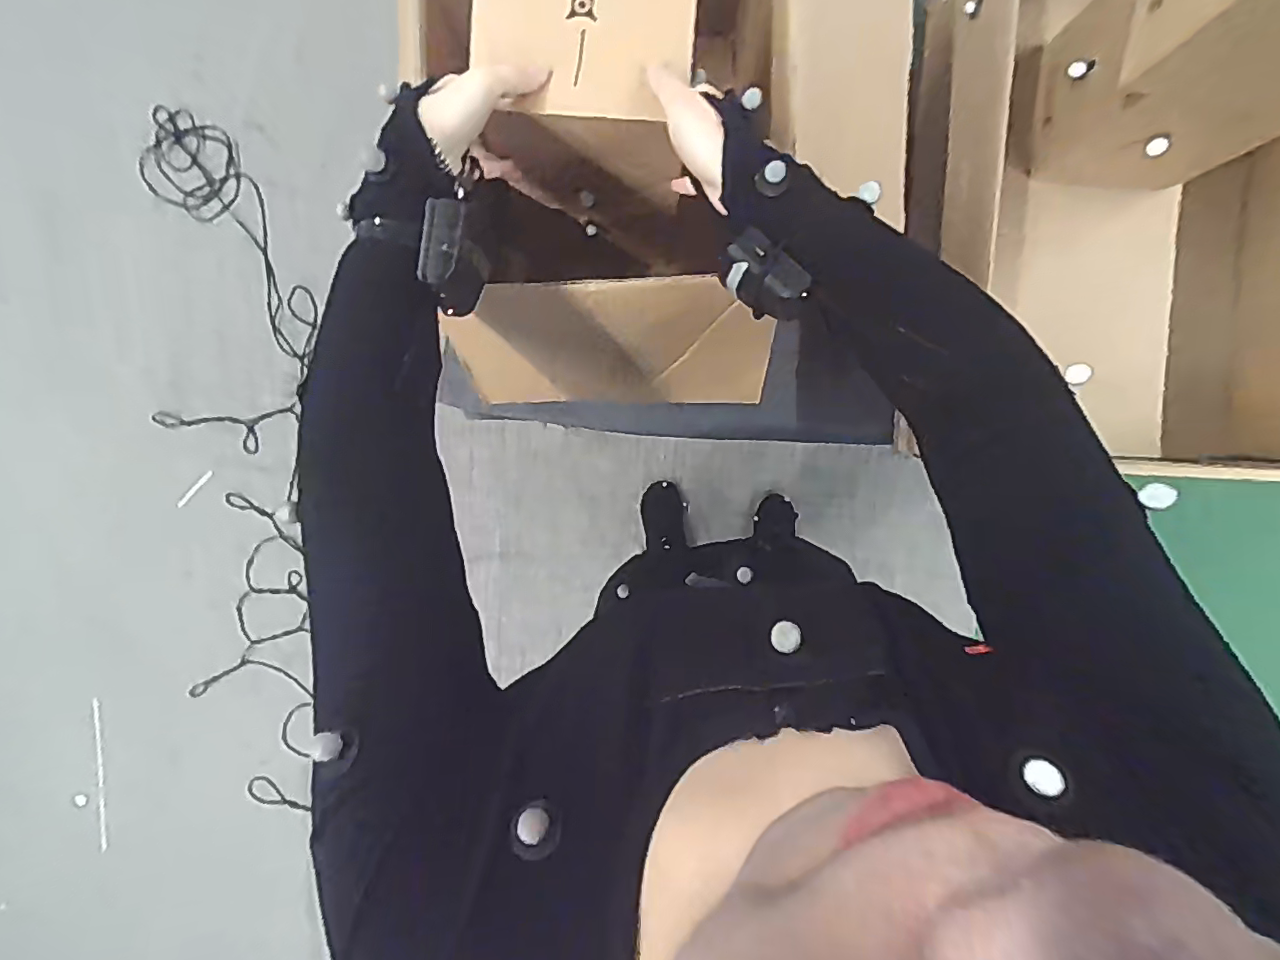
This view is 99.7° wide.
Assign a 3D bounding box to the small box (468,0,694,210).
[{"bbox_3d":[-0.042,-0.367,0.479,0.168,0.176,0.179,4,96,1],"label":"small box"}]
